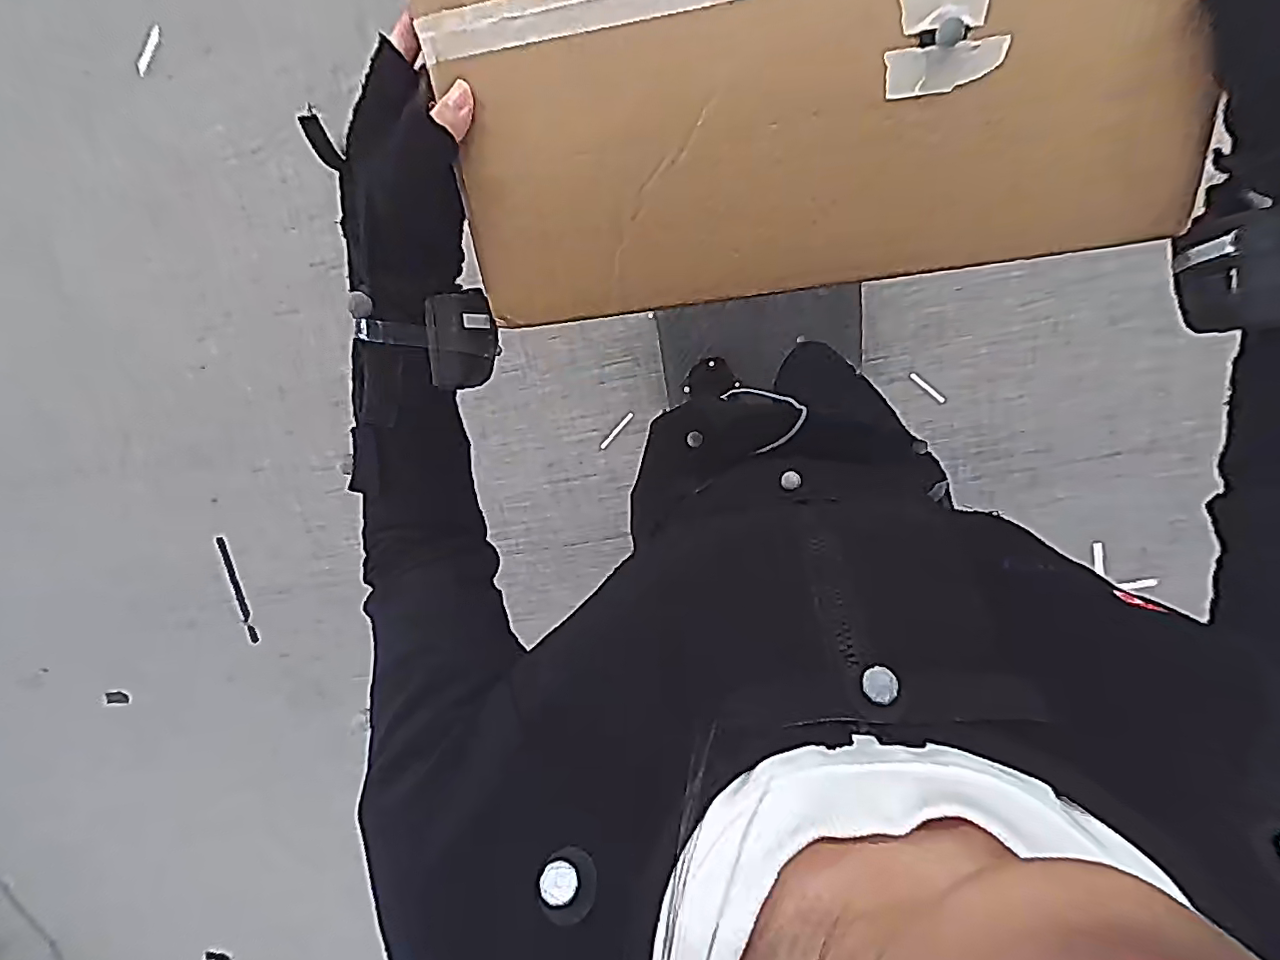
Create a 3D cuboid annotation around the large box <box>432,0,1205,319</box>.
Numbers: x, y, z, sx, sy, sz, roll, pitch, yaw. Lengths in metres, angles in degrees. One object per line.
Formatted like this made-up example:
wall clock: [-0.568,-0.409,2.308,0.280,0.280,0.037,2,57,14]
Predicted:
large box: [0.092,-0.331,0.414,0.408,0.320,0.320,-6,115,7]
